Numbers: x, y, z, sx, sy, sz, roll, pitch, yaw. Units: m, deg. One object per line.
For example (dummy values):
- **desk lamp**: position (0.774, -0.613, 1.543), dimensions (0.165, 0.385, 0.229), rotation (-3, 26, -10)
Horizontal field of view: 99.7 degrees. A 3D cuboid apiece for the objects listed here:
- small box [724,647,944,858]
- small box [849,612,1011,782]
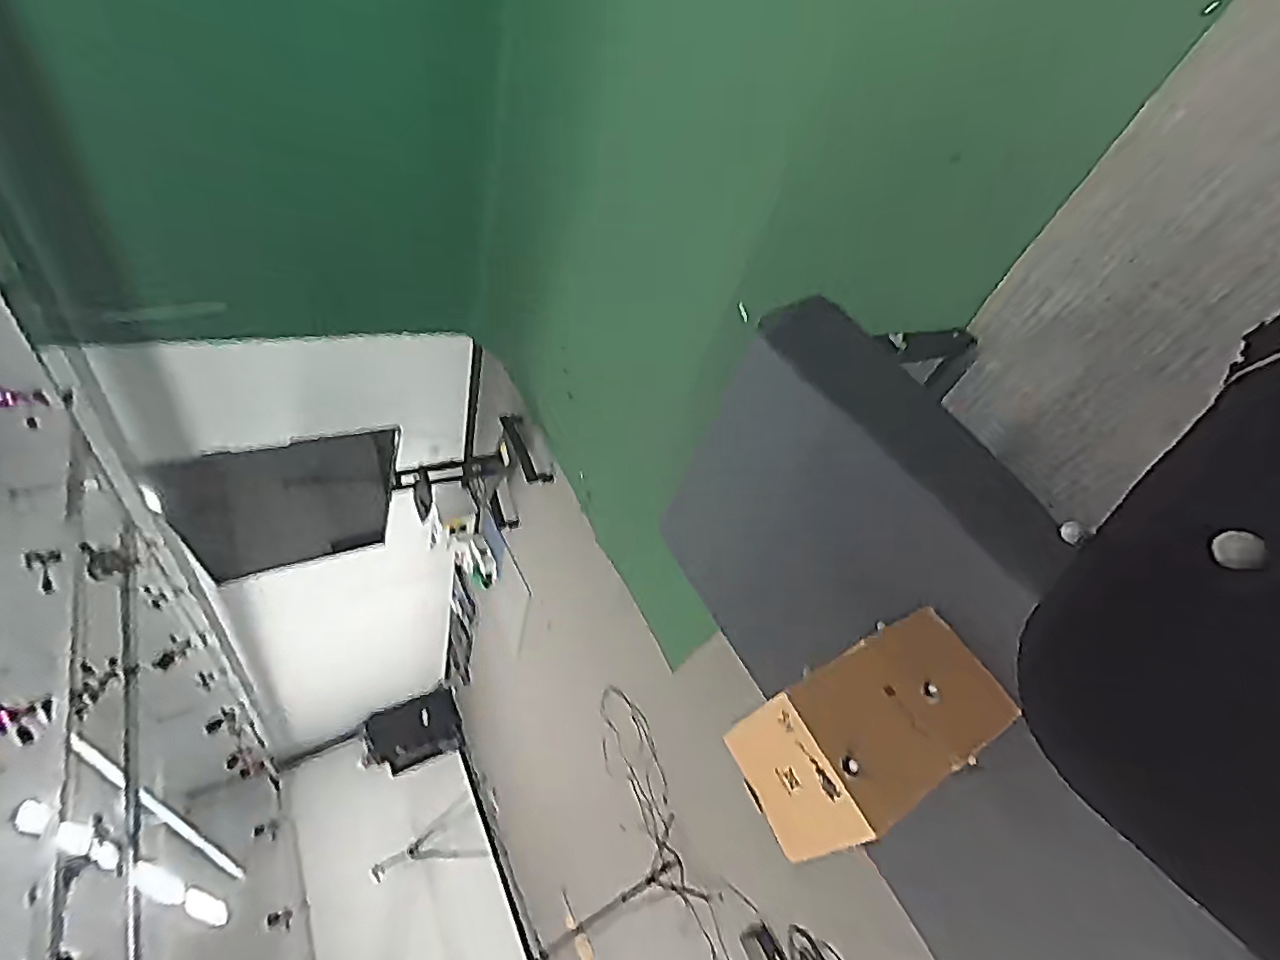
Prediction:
- **small box**: position (0.245, 0.346, 0.702), dimensions (0.168, 0.176, 0.179), rotation (57, 141, 32)
- **small box**: position (0.381, 0.320, 0.785), dimensions (0.179, 0.176, 0.168), rotation (58, 142, 31)
